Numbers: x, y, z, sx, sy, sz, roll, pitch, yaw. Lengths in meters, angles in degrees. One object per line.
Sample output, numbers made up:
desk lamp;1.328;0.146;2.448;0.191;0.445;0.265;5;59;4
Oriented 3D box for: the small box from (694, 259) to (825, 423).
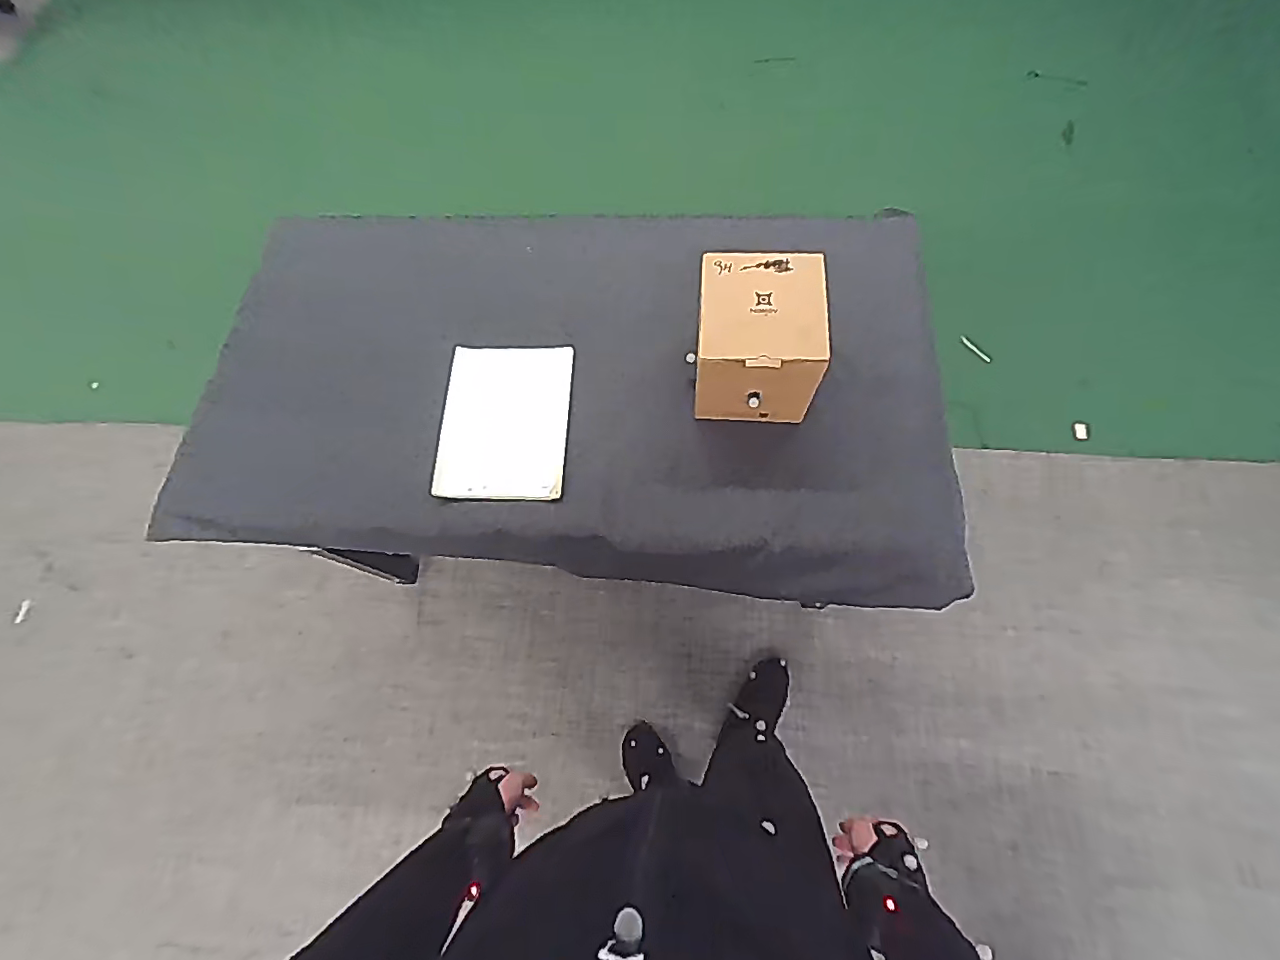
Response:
small box;0.166;-0.195;0.790;0.168;0.176;0.179;3;71;5
